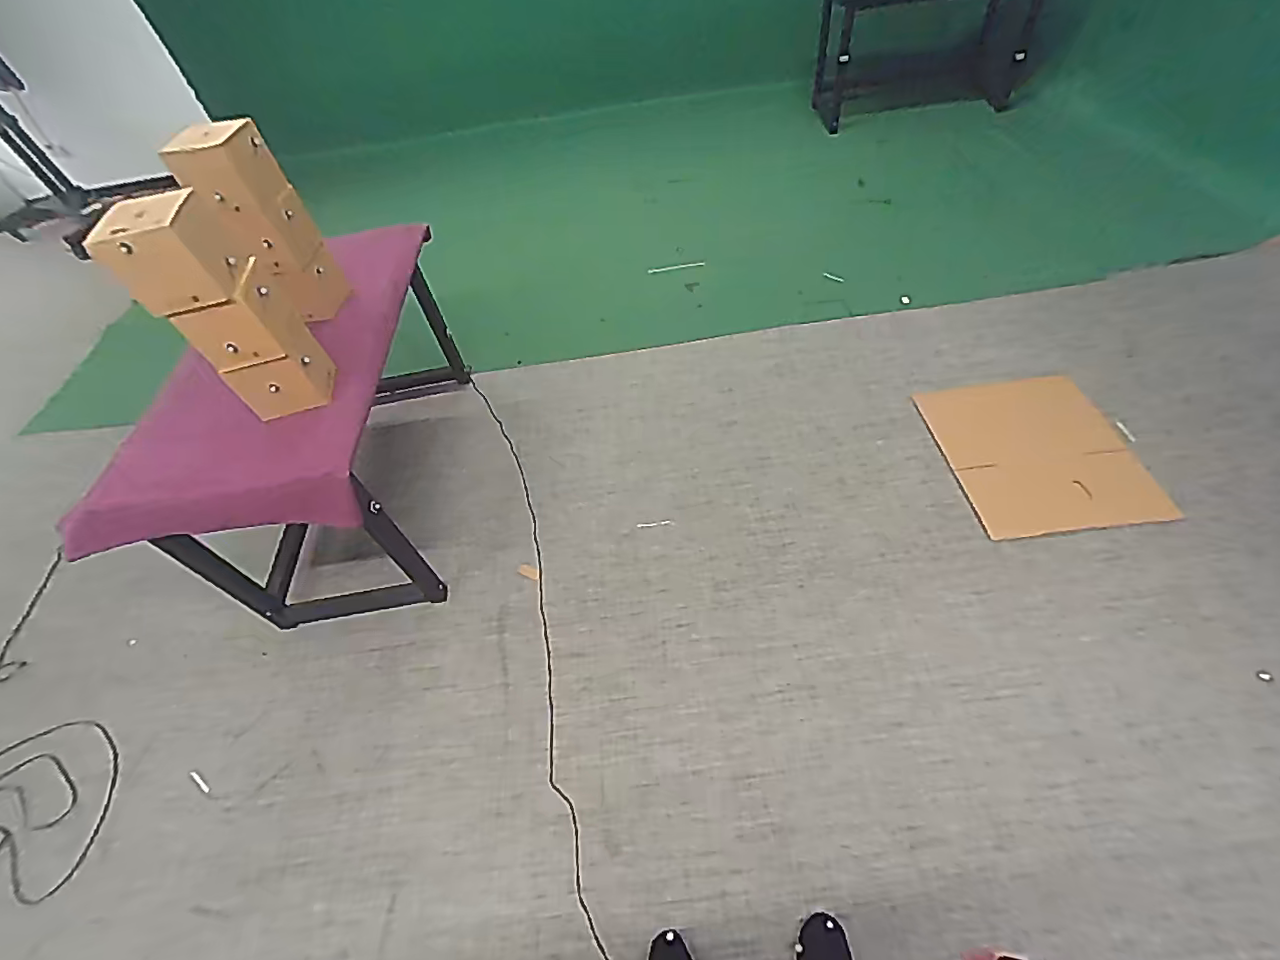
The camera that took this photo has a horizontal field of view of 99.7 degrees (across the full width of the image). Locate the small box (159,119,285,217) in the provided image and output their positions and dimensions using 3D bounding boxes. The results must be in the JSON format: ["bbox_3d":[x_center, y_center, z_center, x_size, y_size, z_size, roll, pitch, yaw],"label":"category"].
[{"bbox_3d":[-1.070,-0.808,1.407,0.168,0.176,0.179,-4,52,4],"label":"small box"}]

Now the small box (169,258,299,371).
[{"bbox_3d":[-0.939,-0.387,1.270,0.168,0.176,0.179,-15,52,-2],"label":"small box"}]

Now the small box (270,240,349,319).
[{"bbox_3d":[-1.035,-0.610,1.666,0.168,0.176,0.179,-3,51,6],"label":"small box"}]

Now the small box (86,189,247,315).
[{"bbox_3d":[-0.973,-0.475,1.135,0.168,0.176,0.179,-14,52,-1],"label":"small box"}]

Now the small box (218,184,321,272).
[{"bbox_3d":[-1.049,-0.709,1.537,0.168,0.176,0.179,-3,52,4],"label":"small box"}]
